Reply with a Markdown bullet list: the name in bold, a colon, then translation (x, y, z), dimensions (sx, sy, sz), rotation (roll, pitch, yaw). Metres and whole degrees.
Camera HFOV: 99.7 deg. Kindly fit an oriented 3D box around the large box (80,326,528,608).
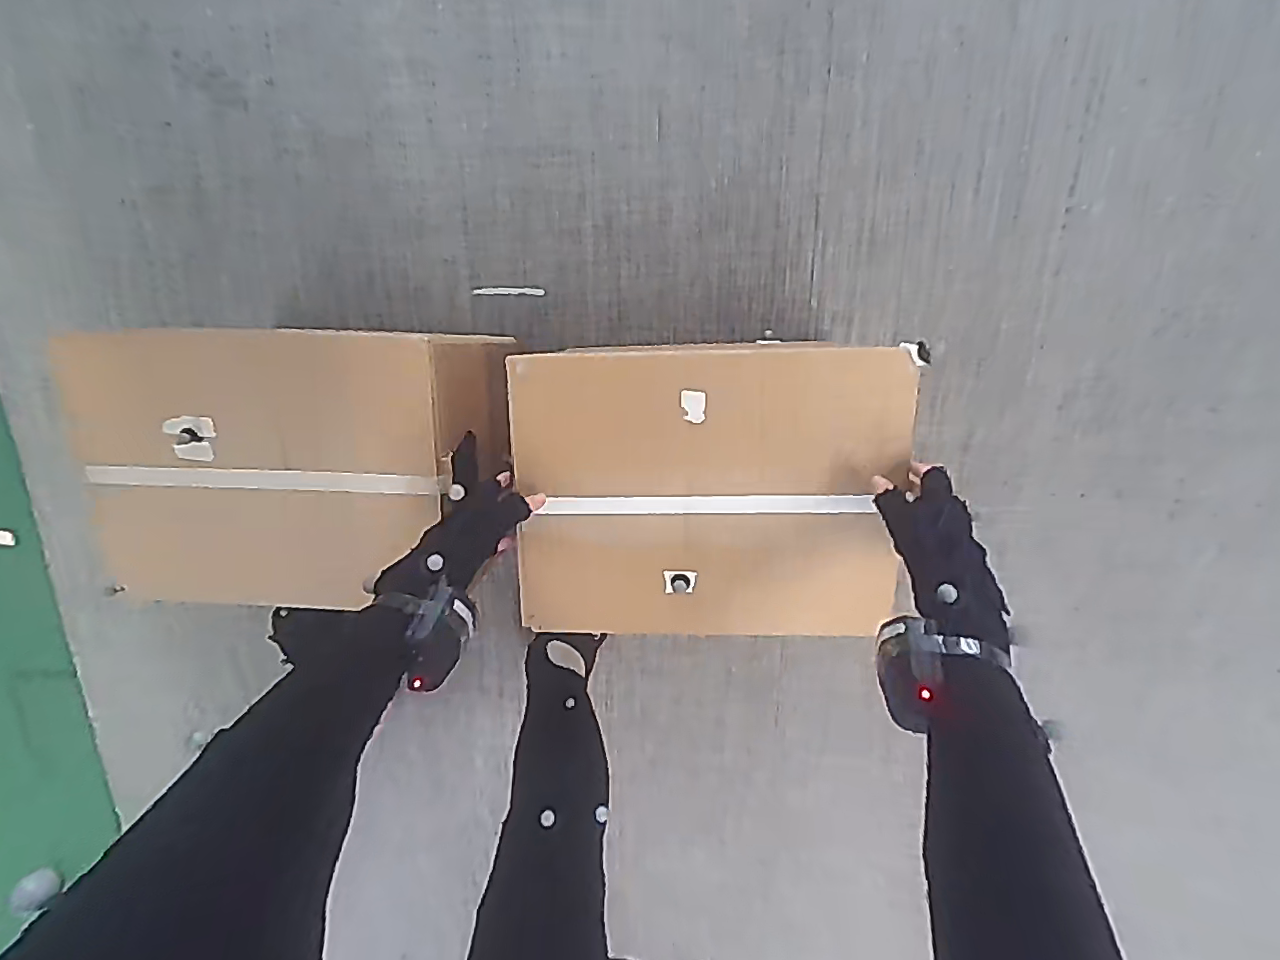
- **large box**: translation (-0.393, -0.045, 0.745), dimensions (0.408, 0.320, 0.320), rotation (3, 104, 4)
